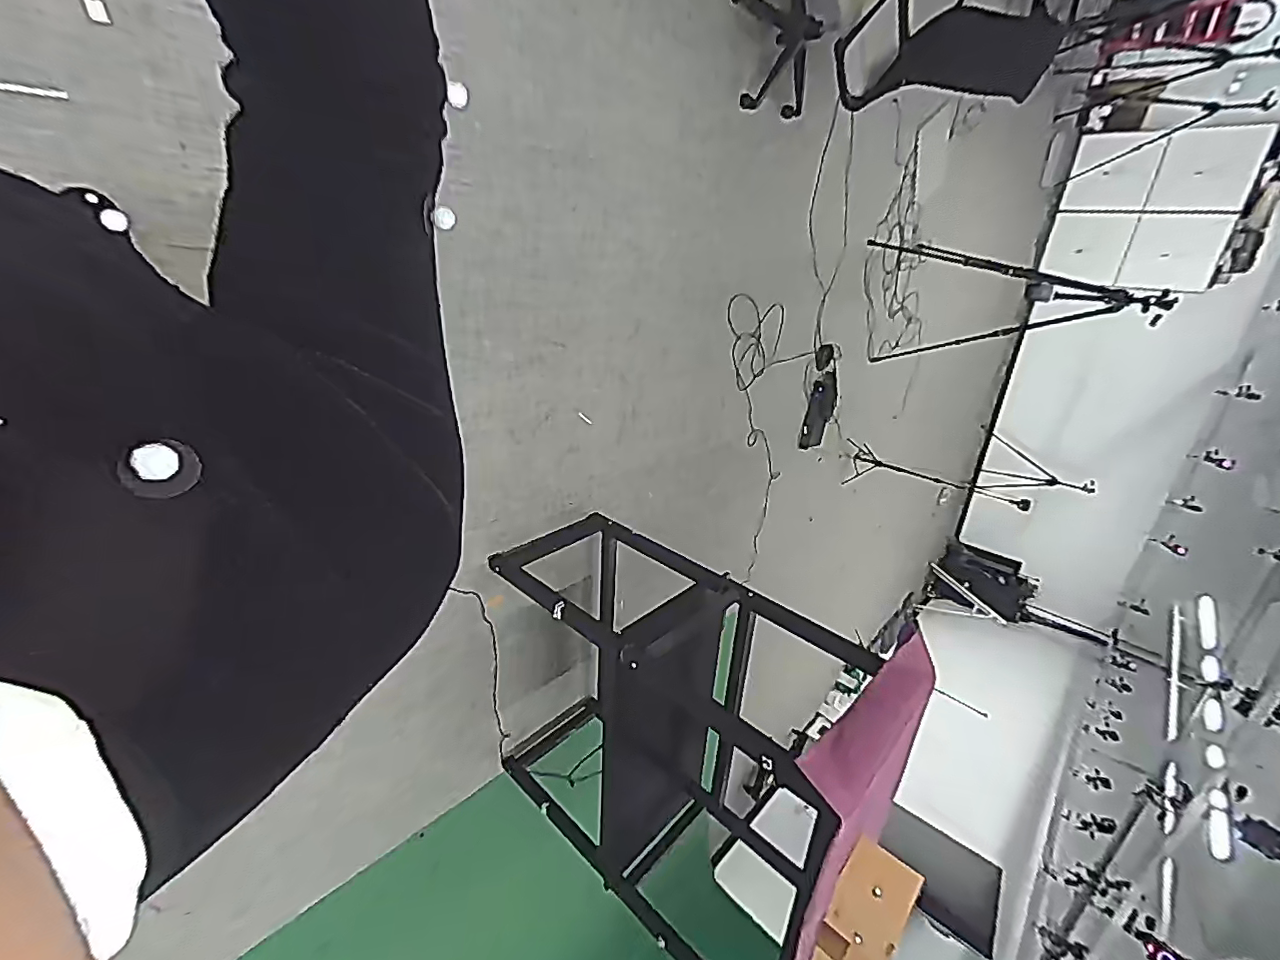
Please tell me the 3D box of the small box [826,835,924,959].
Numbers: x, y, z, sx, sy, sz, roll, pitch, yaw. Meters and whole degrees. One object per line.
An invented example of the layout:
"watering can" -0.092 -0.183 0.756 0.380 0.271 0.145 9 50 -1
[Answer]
"small box" 0.606 1.085 1.404 0.179 0.176 0.168 -19 122 -46
